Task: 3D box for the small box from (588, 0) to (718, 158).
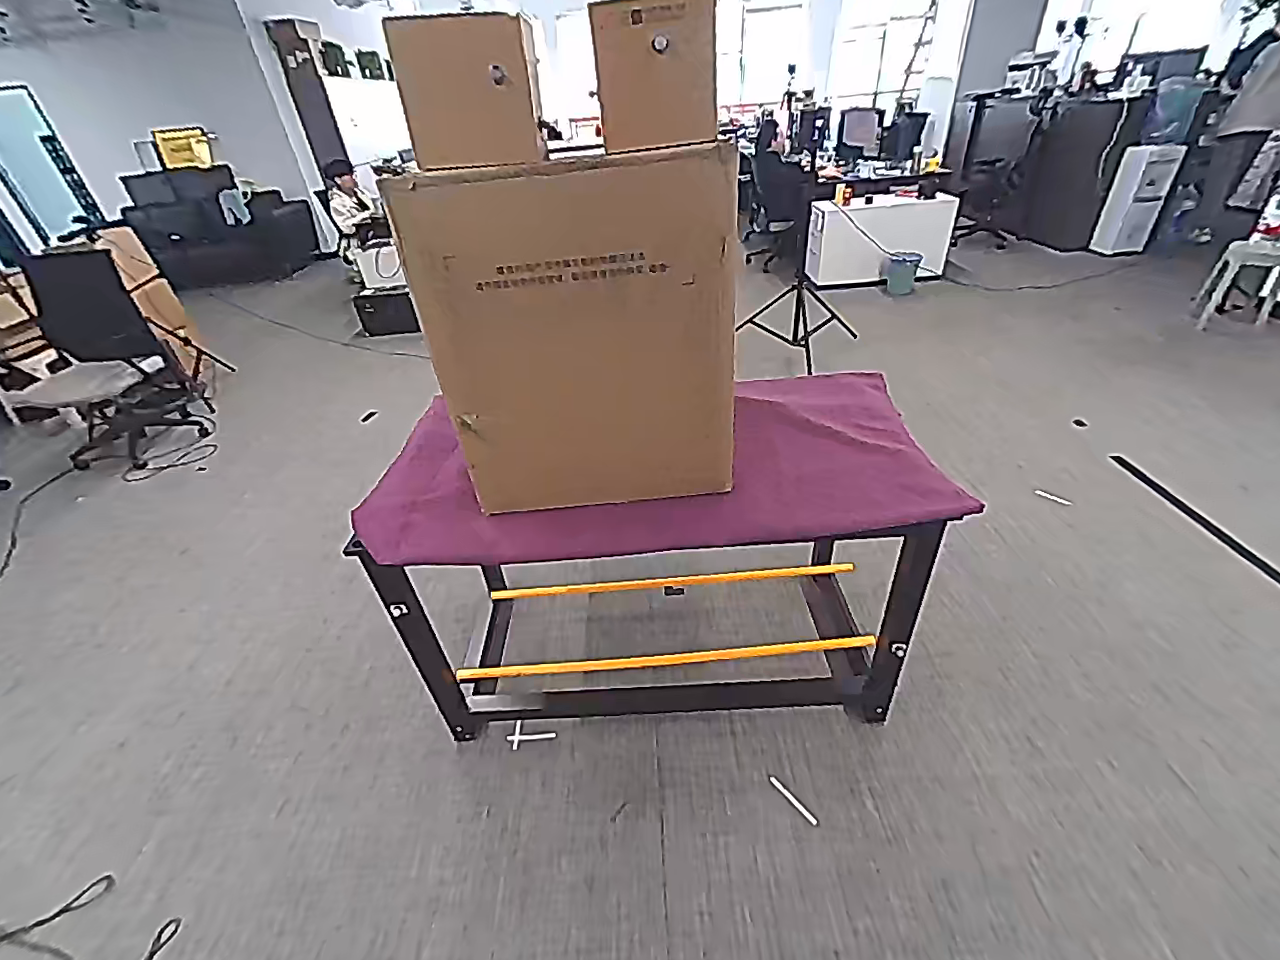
[{"bbox_3d":[0.019,-0.584,0.792,0.168,0.176,0.179,-7,35,0],"label":"small box"}]
